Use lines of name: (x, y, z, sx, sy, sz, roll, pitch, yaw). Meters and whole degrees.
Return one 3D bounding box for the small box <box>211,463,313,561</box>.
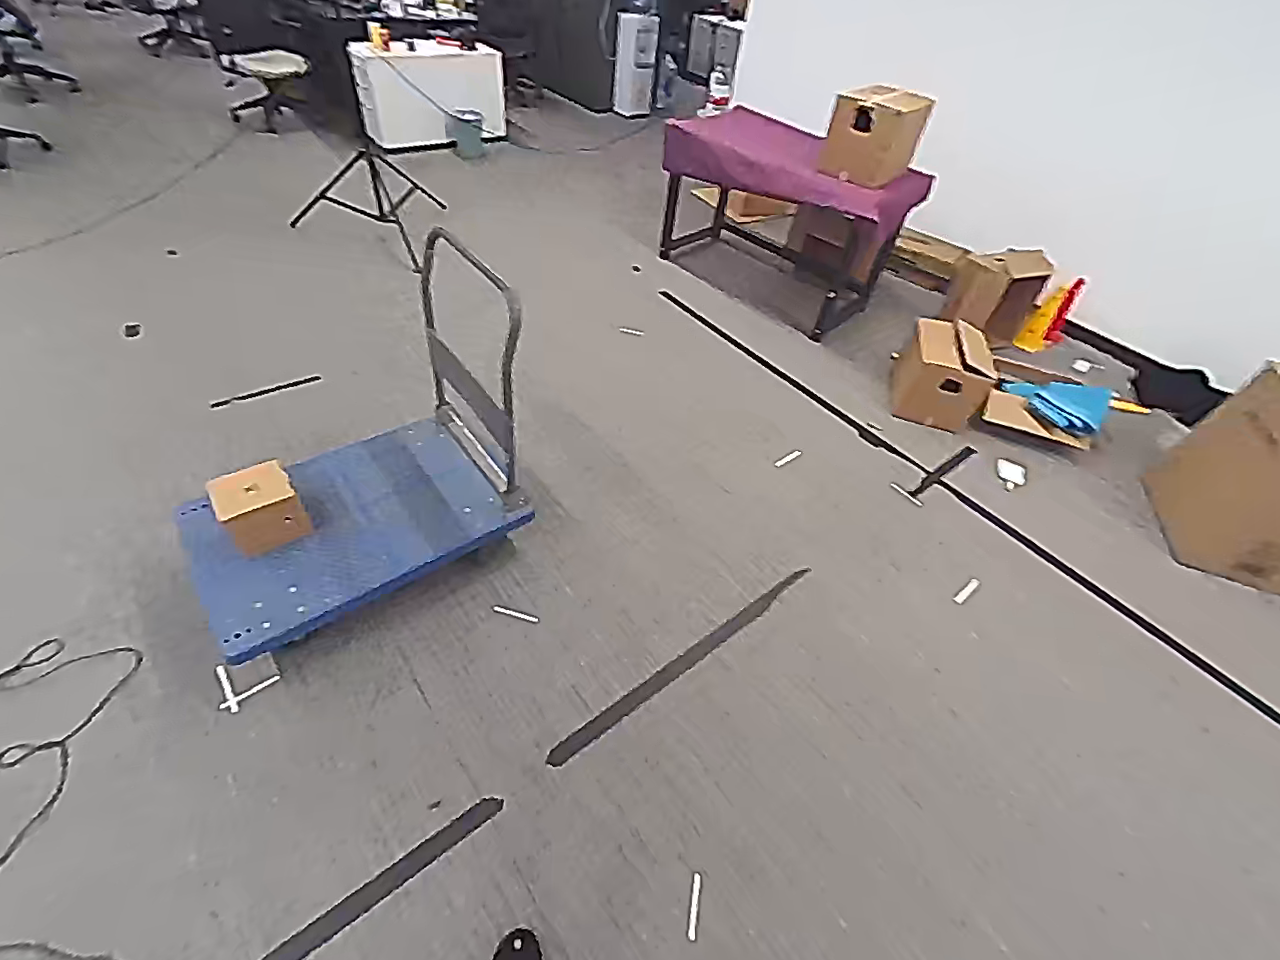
small box: (-1.036, 0.088, 1.497, 0.179, 0.176, 0.168, -27, 55, -29)
